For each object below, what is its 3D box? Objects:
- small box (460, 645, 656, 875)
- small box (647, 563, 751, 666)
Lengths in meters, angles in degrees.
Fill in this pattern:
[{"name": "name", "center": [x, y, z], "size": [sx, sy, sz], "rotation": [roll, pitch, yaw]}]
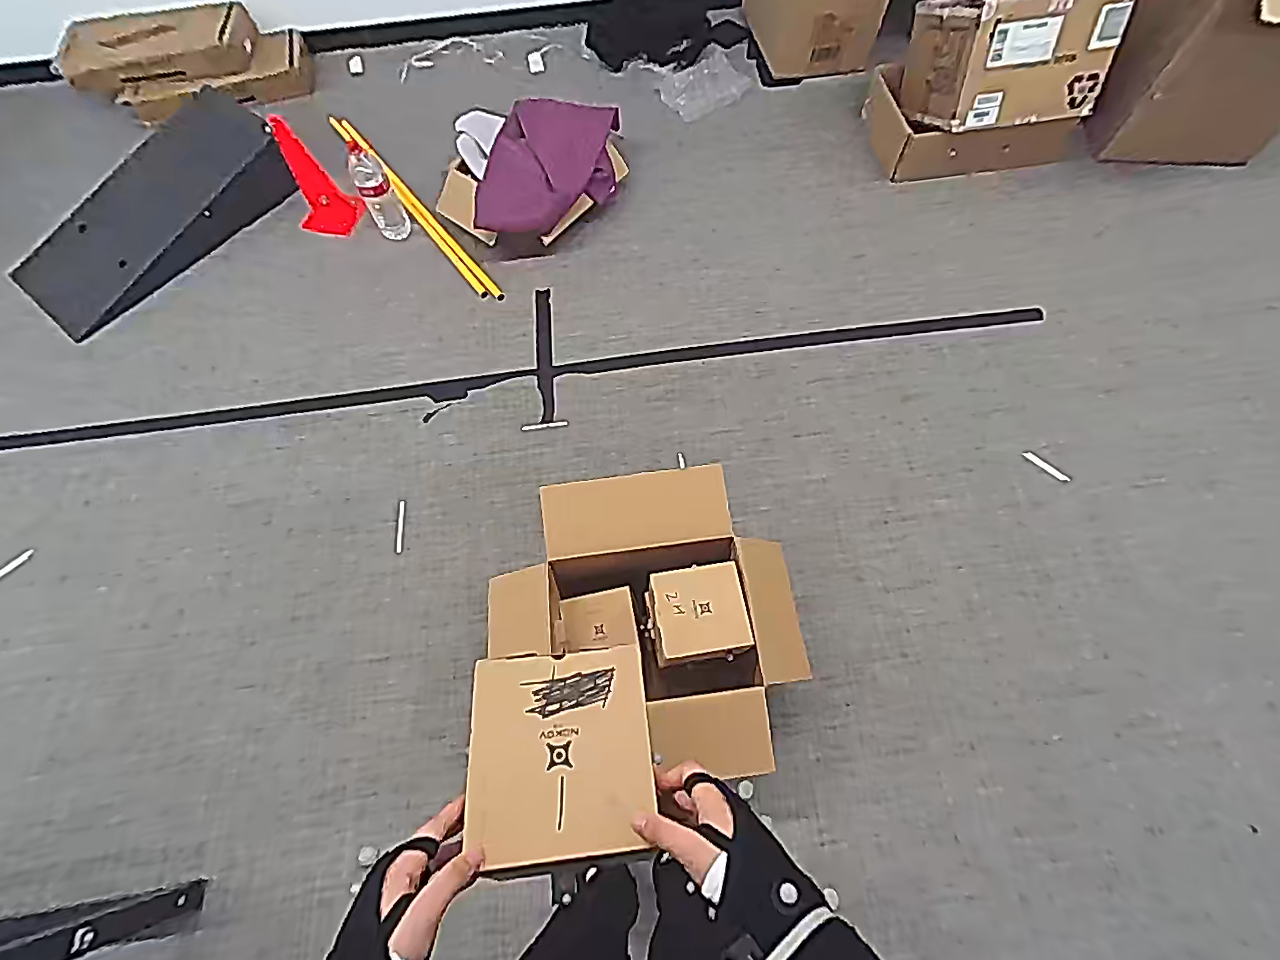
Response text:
[{"name": "small box", "center": [-0.078, 0.292, 0.562], "size": [0.168, 0.176, 0.179], "rotation": [-4, 53, -5]}, {"name": "small box", "center": [0.112, 0.282, 1.119], "size": [0.179, 0.176, 0.168], "rotation": [-9, 66, -3]}]
